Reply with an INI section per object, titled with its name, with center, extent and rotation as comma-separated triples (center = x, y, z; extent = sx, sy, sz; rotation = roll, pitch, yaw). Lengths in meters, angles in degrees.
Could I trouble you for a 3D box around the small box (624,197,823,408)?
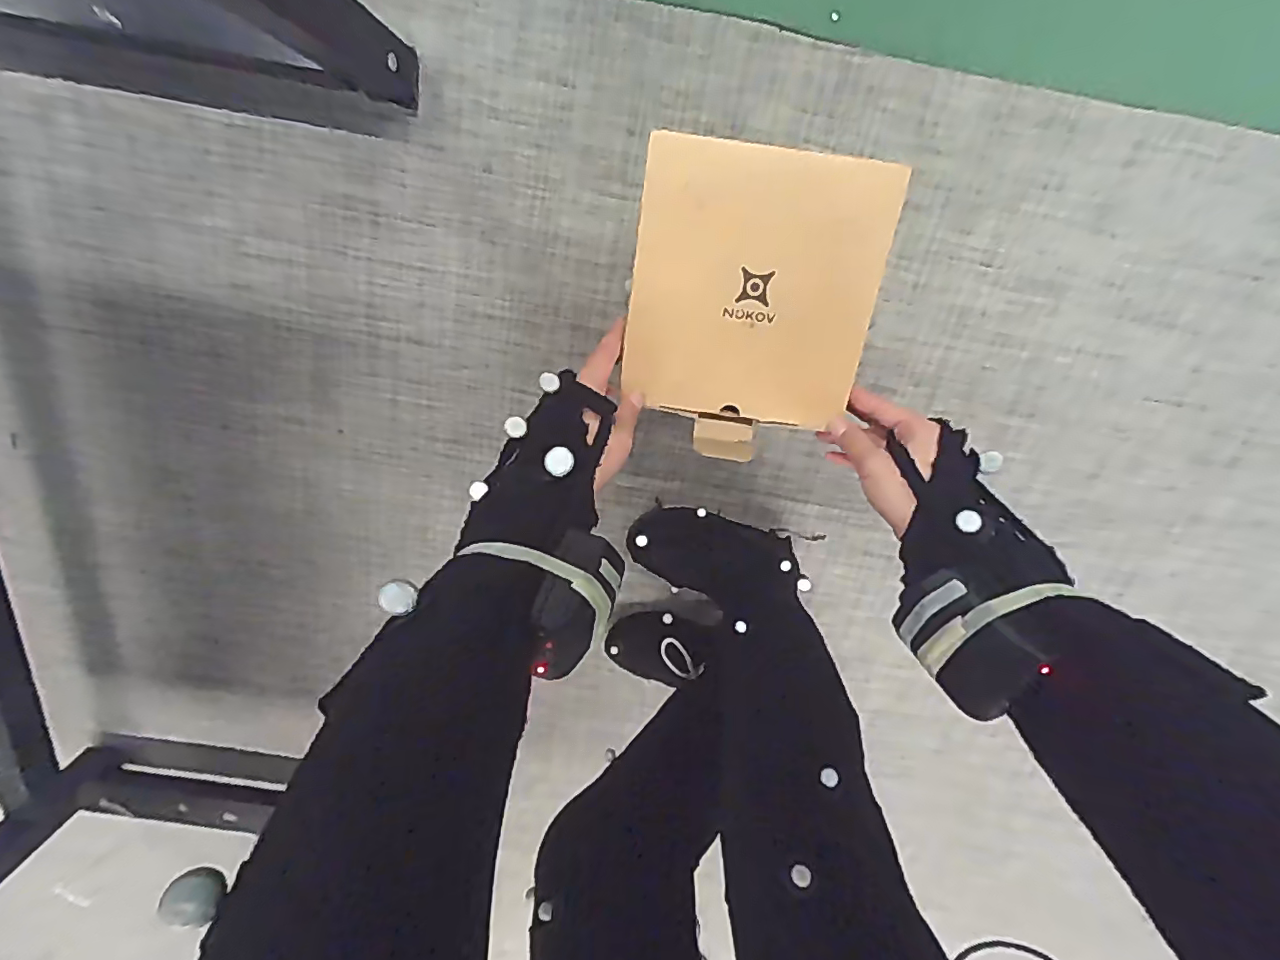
[small box]
center = 0.081, -0.196, 0.601
extent = 0.168, 0.176, 0.179
rotation = 9, 111, -1
